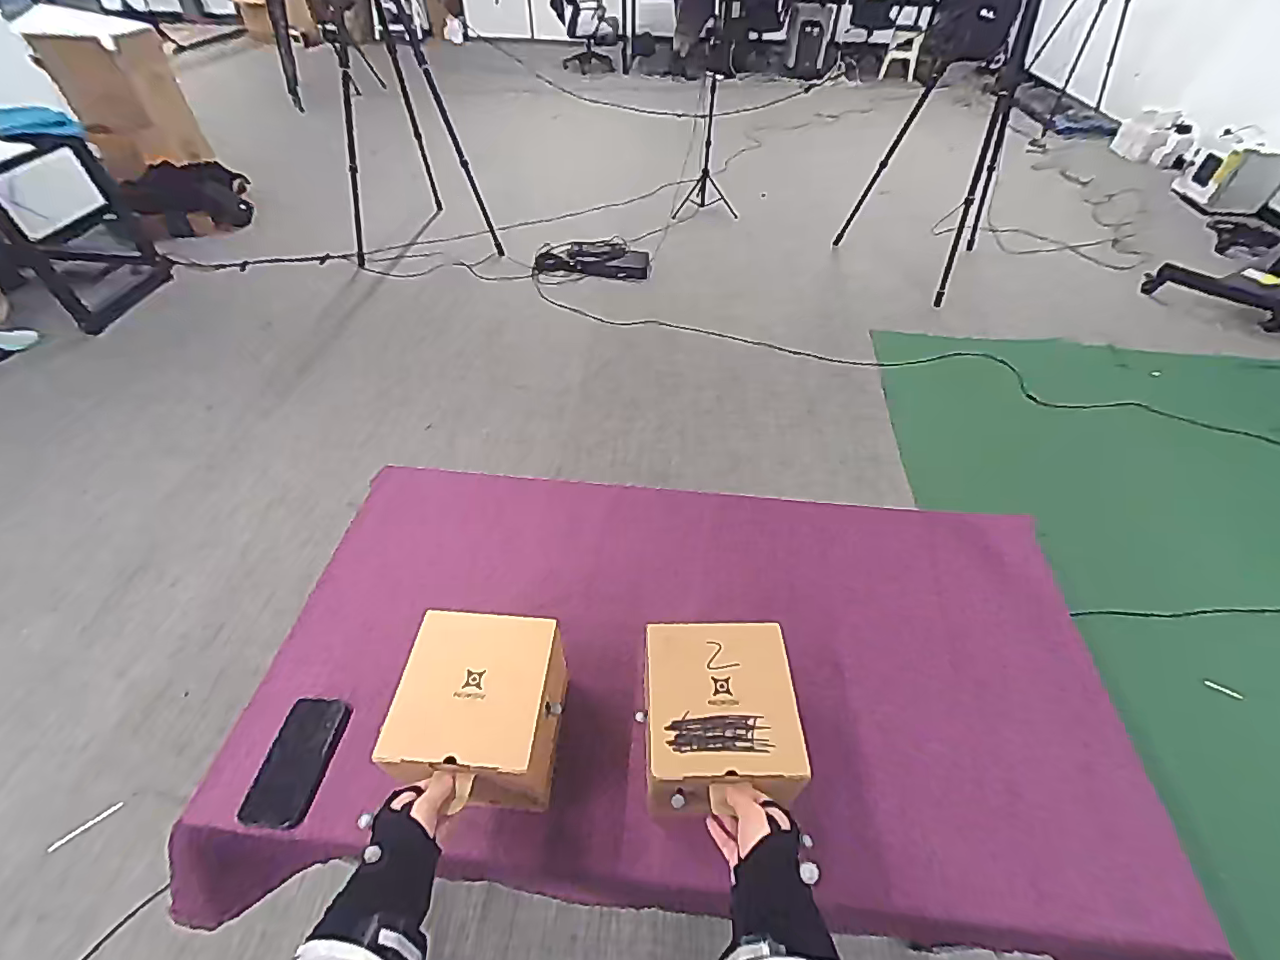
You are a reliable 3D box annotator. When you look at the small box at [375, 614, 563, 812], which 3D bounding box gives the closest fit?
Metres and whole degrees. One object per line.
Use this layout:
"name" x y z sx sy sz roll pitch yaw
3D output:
"small box" -0.194 0.292 0.677 0.168 0.176 0.179 4 48 2
